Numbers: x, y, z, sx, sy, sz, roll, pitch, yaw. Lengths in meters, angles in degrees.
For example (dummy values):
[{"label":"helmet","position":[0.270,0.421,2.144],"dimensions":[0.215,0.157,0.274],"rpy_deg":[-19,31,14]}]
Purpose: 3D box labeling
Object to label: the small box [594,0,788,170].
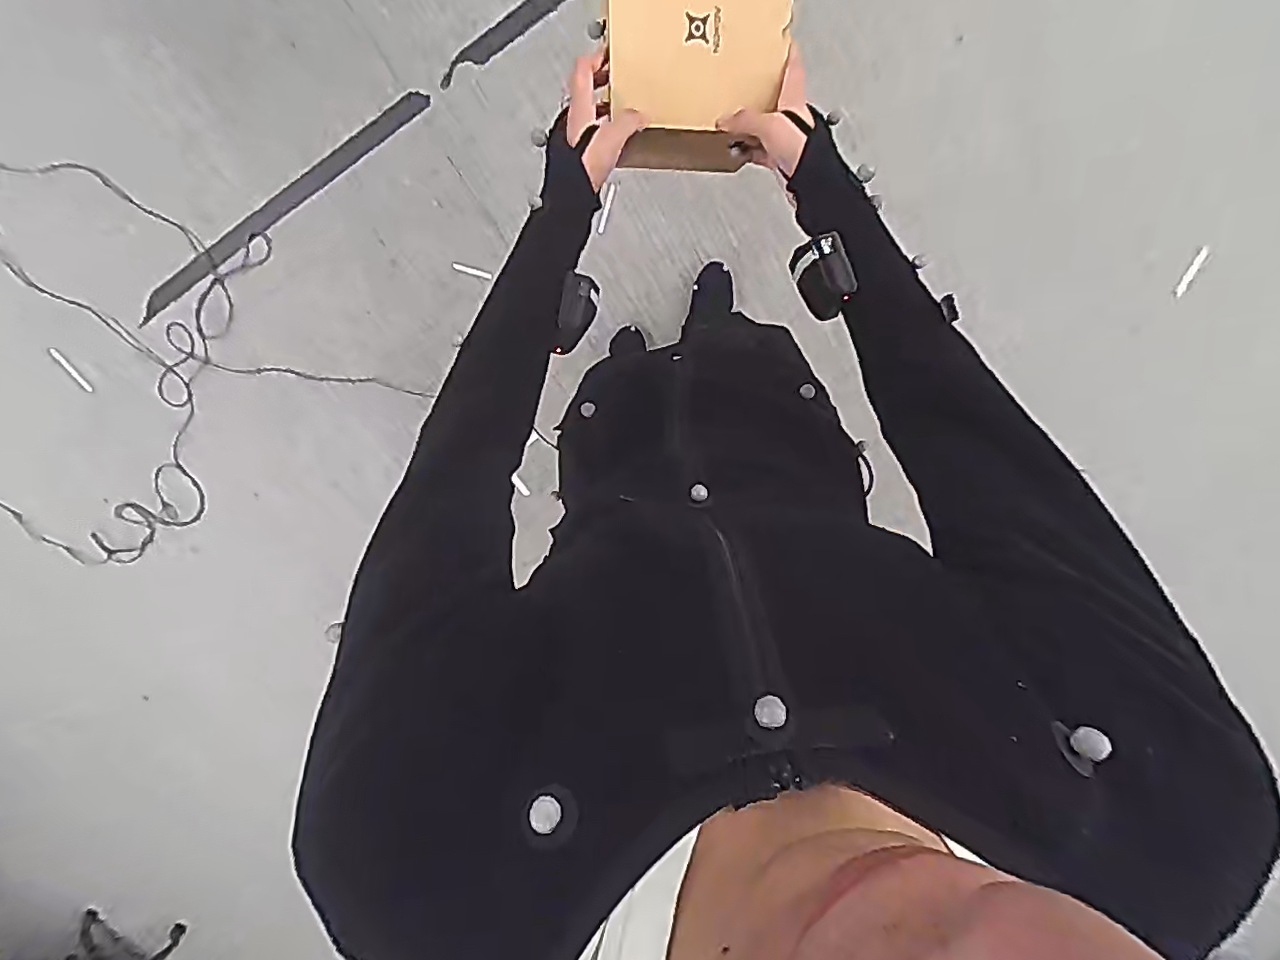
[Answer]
[{"label":"small box","position":[0.041,-0.441,0.575],"dimensions":[0.179,0.176,0.168],"rpy_deg":[-3,108,-9]}]
